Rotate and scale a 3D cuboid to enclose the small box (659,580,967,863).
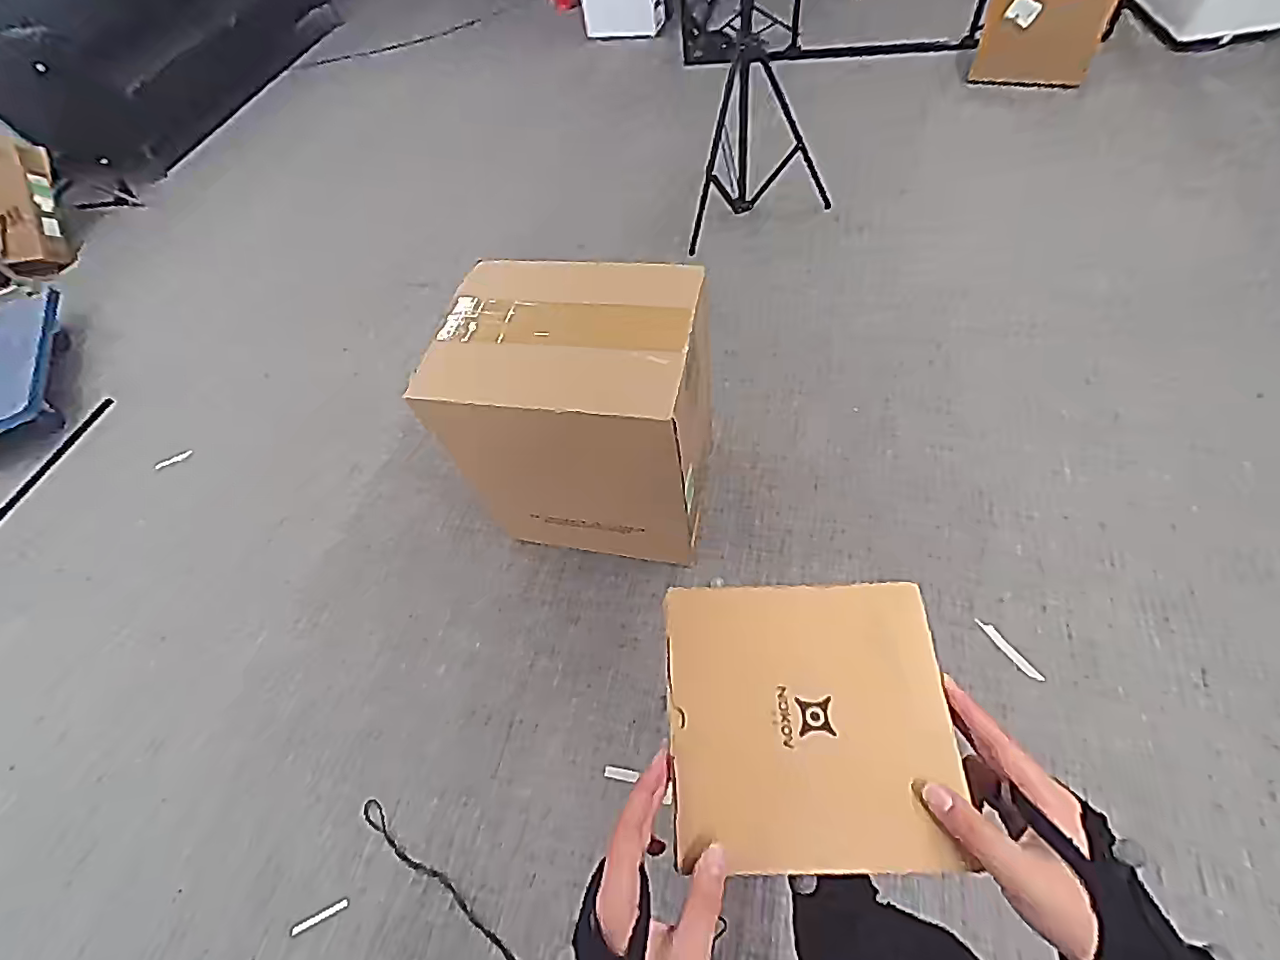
[{"bbox_3d":[0.104,0.177,0.415,0.179,0.176,0.168,-3,65,3],"label":"small box"}]
